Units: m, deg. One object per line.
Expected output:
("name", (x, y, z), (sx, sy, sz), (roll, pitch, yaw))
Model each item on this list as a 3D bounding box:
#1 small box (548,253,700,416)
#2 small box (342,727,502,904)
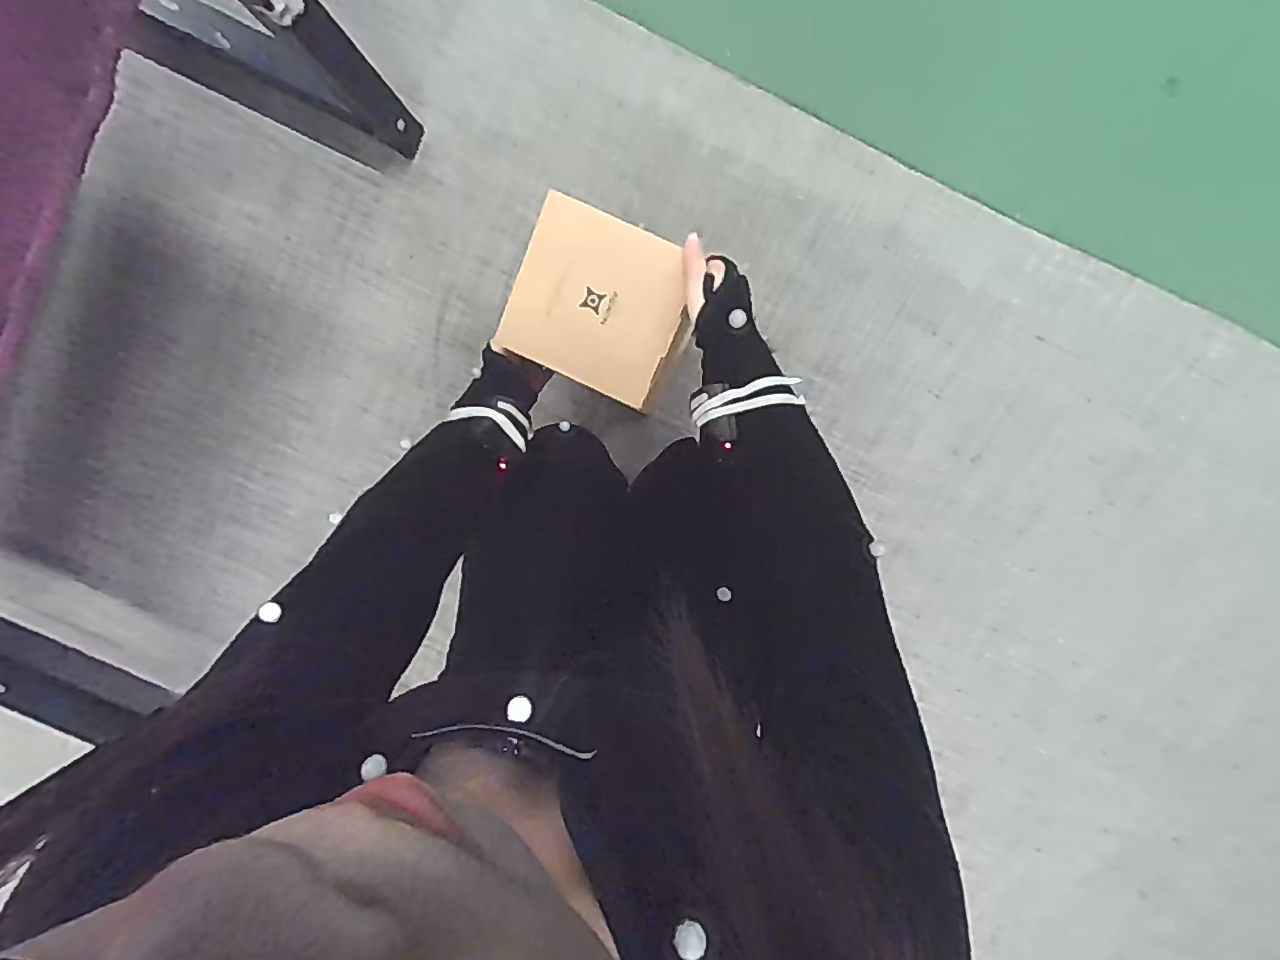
("small box", (-0.022, -0.213, 0.833), (0.168, 0.176, 0.179), (24, 99, -3))
("small box", (-0.365, 0.568, 0.939), (0.179, 0.176, 0.168), (27, 97, -2))
